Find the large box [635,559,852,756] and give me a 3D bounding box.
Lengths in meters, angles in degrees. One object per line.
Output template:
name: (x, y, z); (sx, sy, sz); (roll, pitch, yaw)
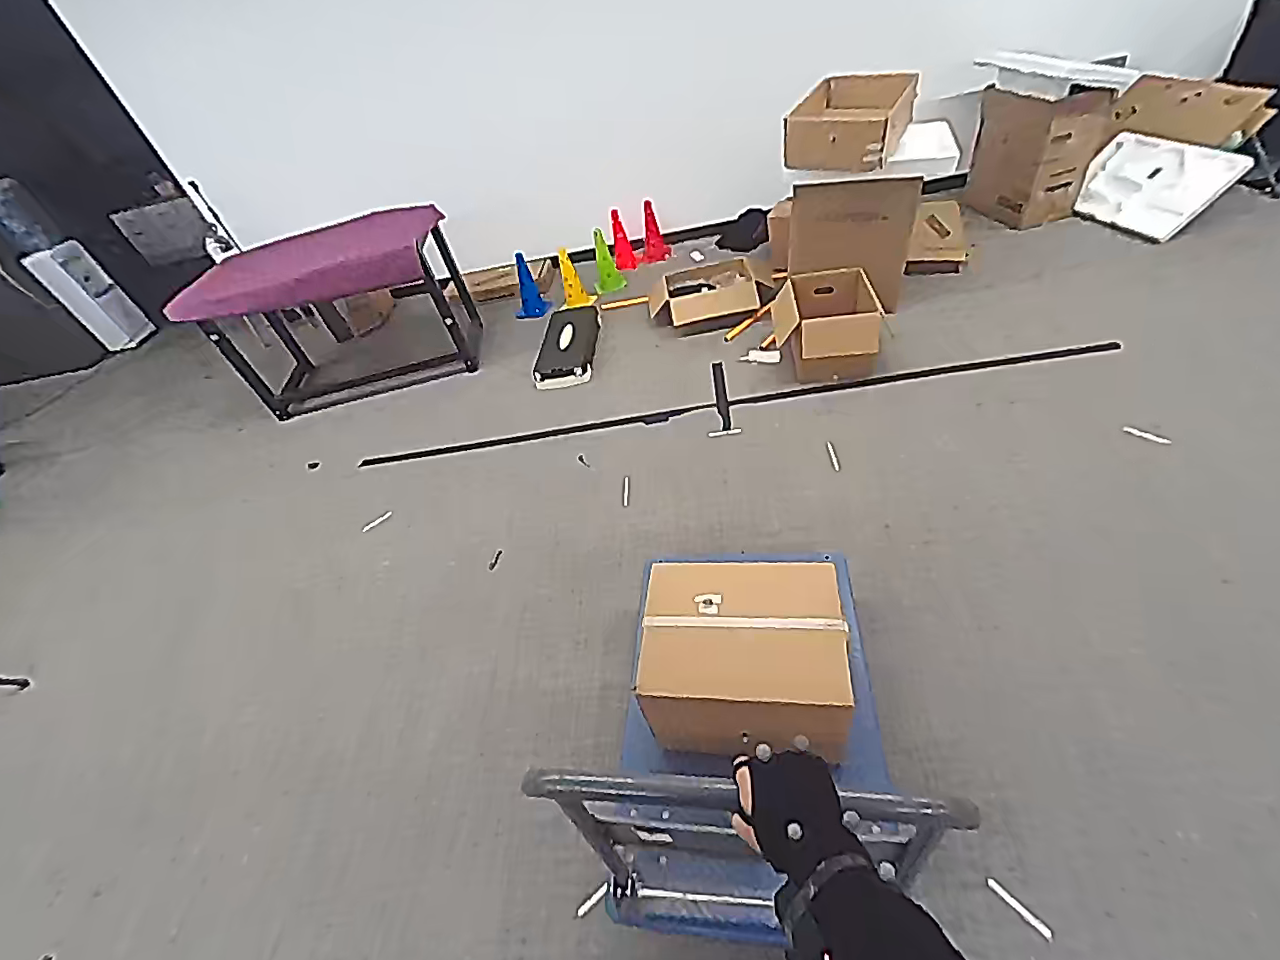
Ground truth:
large box: (0.230, 0.397, 1.201); (0.408, 0.320, 0.320); (-4, 43, 13)
